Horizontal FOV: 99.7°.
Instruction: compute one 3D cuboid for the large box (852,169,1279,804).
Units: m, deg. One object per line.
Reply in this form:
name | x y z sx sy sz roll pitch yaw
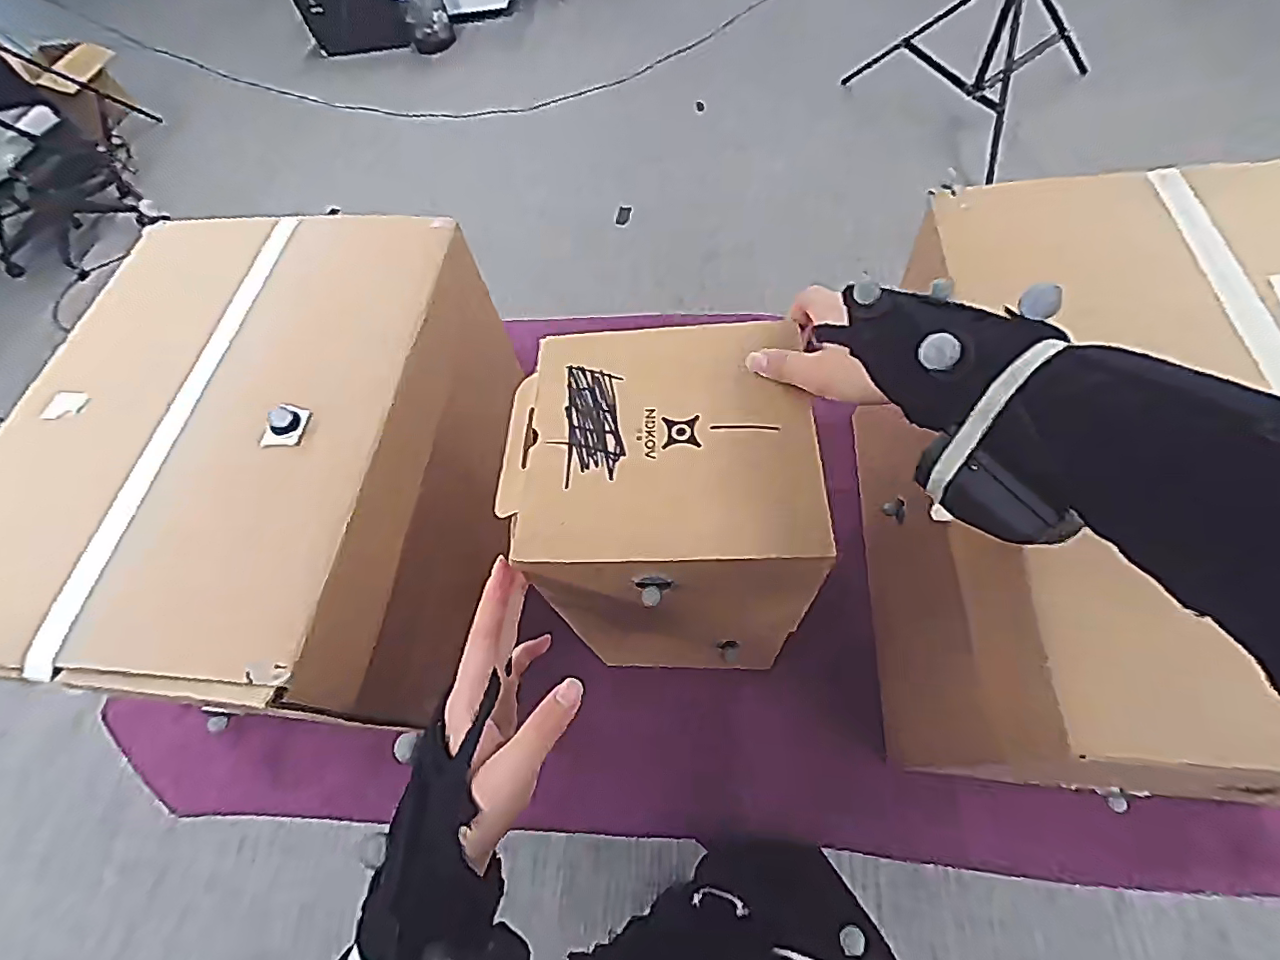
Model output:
large box | 0.379 0.024 0.438 0.320 0.320 0.408 1 61 8
